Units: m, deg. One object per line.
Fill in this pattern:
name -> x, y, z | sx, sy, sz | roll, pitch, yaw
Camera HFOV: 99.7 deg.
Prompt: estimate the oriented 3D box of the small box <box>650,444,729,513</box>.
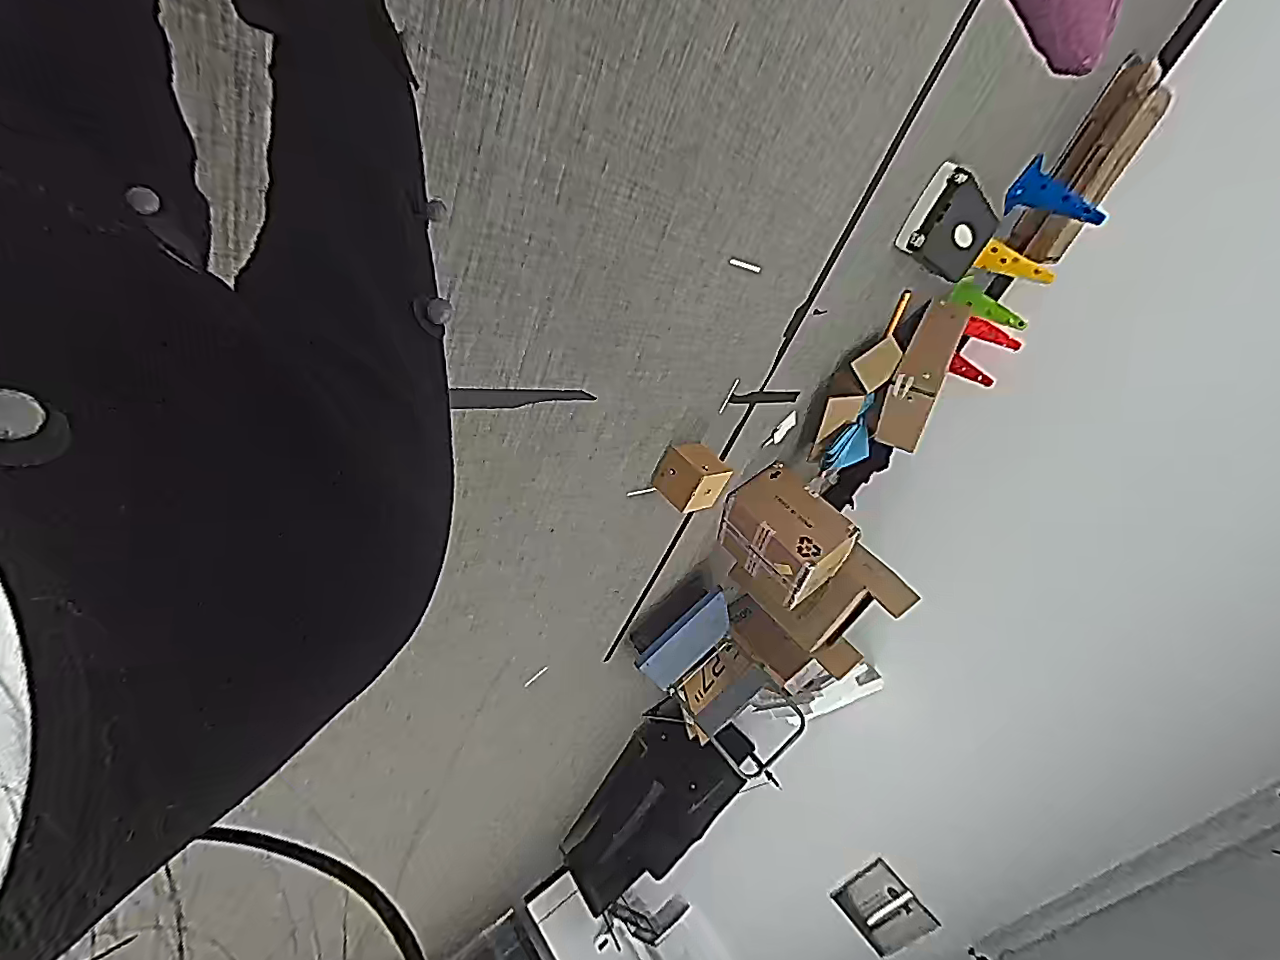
small box -> 0.168, -0.011, 1.873 | 0.179, 0.176, 0.168 | -10, 136, -47
